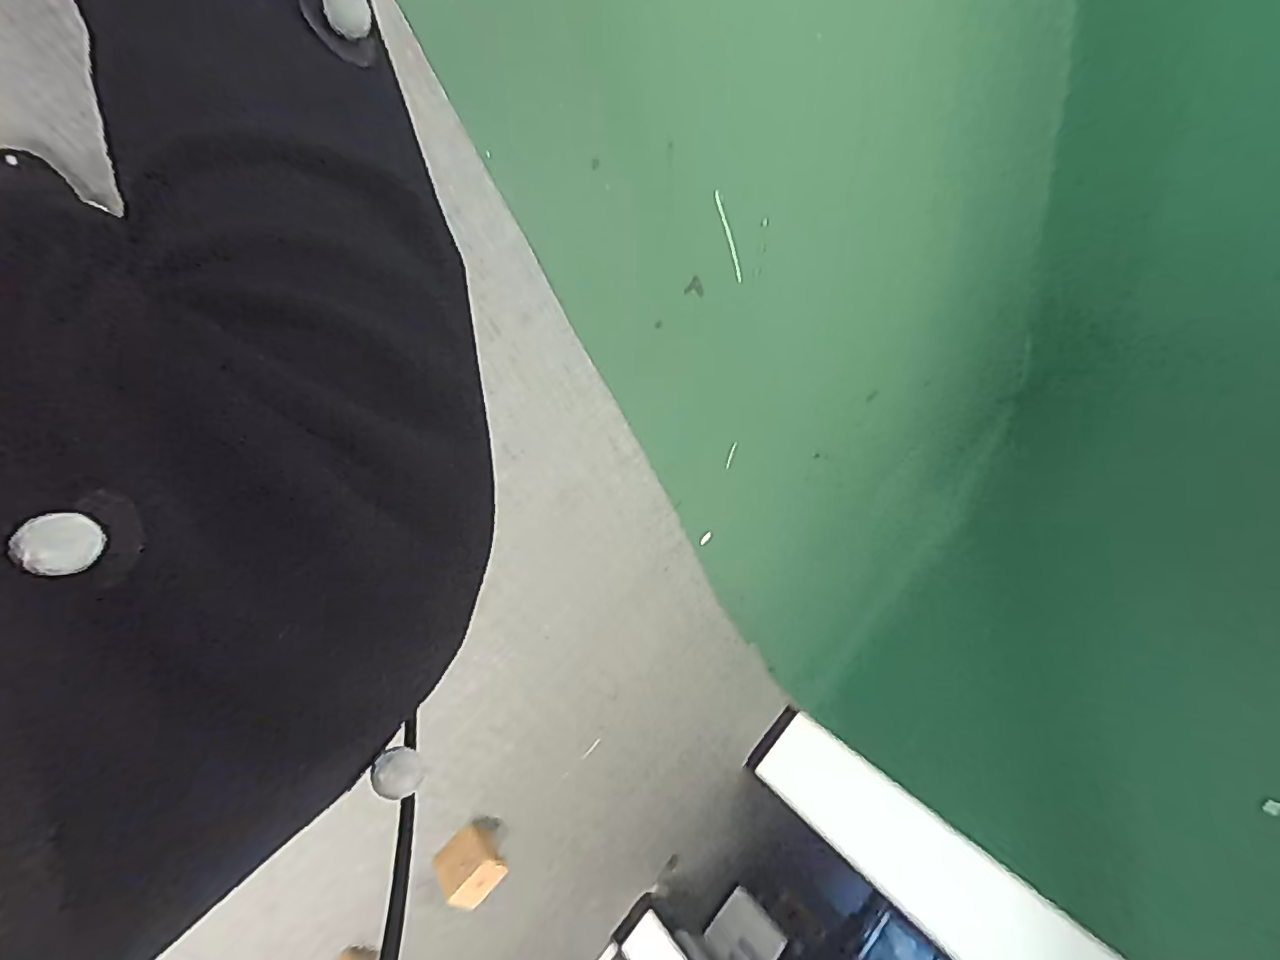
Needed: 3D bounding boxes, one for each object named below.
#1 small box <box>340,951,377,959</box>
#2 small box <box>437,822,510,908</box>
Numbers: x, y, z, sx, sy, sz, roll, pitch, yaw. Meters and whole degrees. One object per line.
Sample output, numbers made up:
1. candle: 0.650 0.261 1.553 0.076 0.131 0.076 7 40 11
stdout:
1. small box: -0.987 1.744 1.823 0.168 0.176 0.179 -39 132 -19
2. small box: -0.619 1.408 1.982 0.179 0.176 0.168 -43 132 -18
